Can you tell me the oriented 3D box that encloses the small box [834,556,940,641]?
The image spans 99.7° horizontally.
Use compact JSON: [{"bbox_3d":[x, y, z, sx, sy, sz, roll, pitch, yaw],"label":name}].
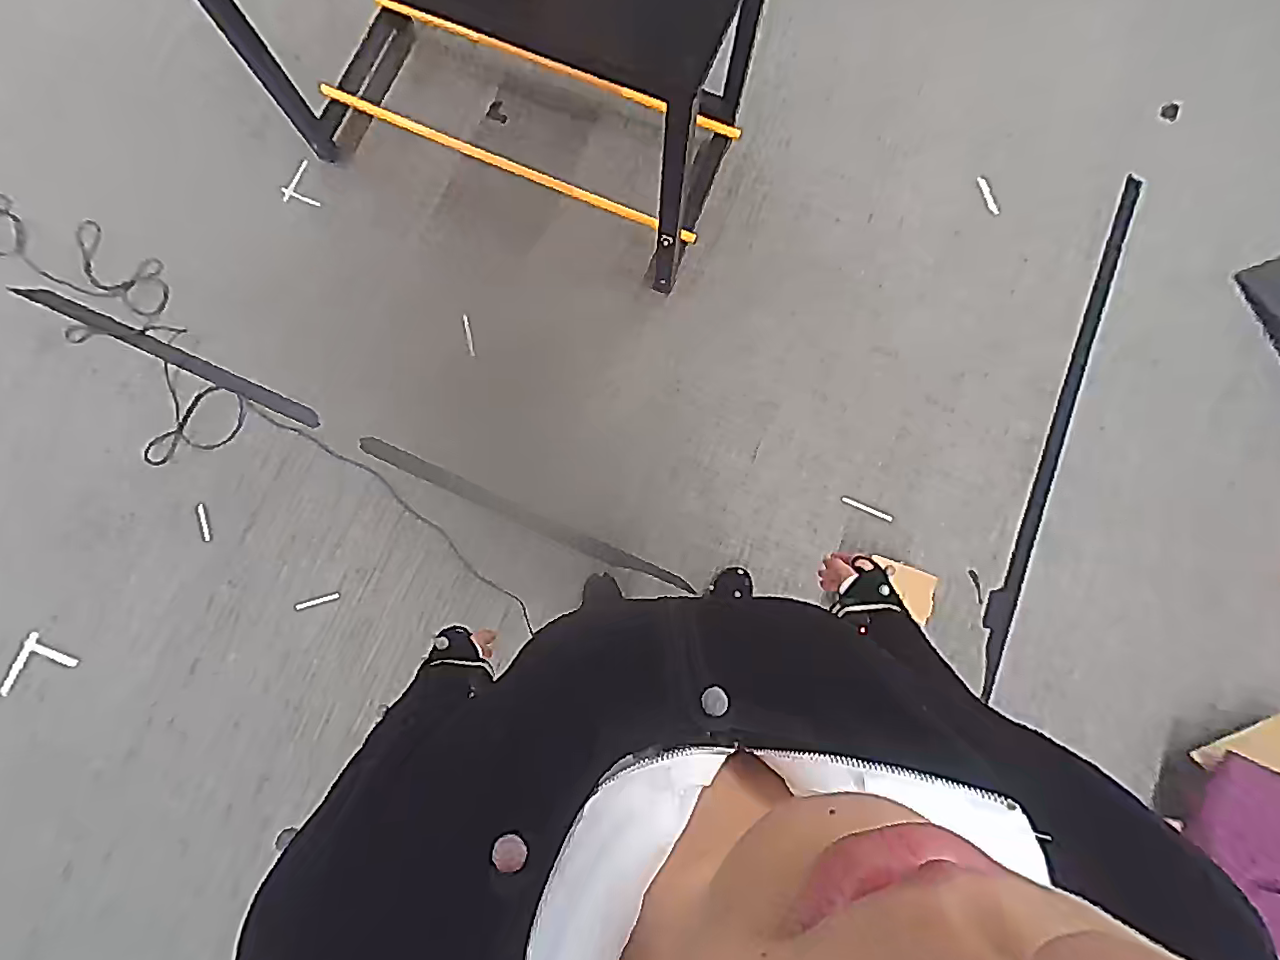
[{"bbox_3d":[0.642,0.306,1.421,0.179,0.176,0.168,19,80,4],"label":"small box"}]
